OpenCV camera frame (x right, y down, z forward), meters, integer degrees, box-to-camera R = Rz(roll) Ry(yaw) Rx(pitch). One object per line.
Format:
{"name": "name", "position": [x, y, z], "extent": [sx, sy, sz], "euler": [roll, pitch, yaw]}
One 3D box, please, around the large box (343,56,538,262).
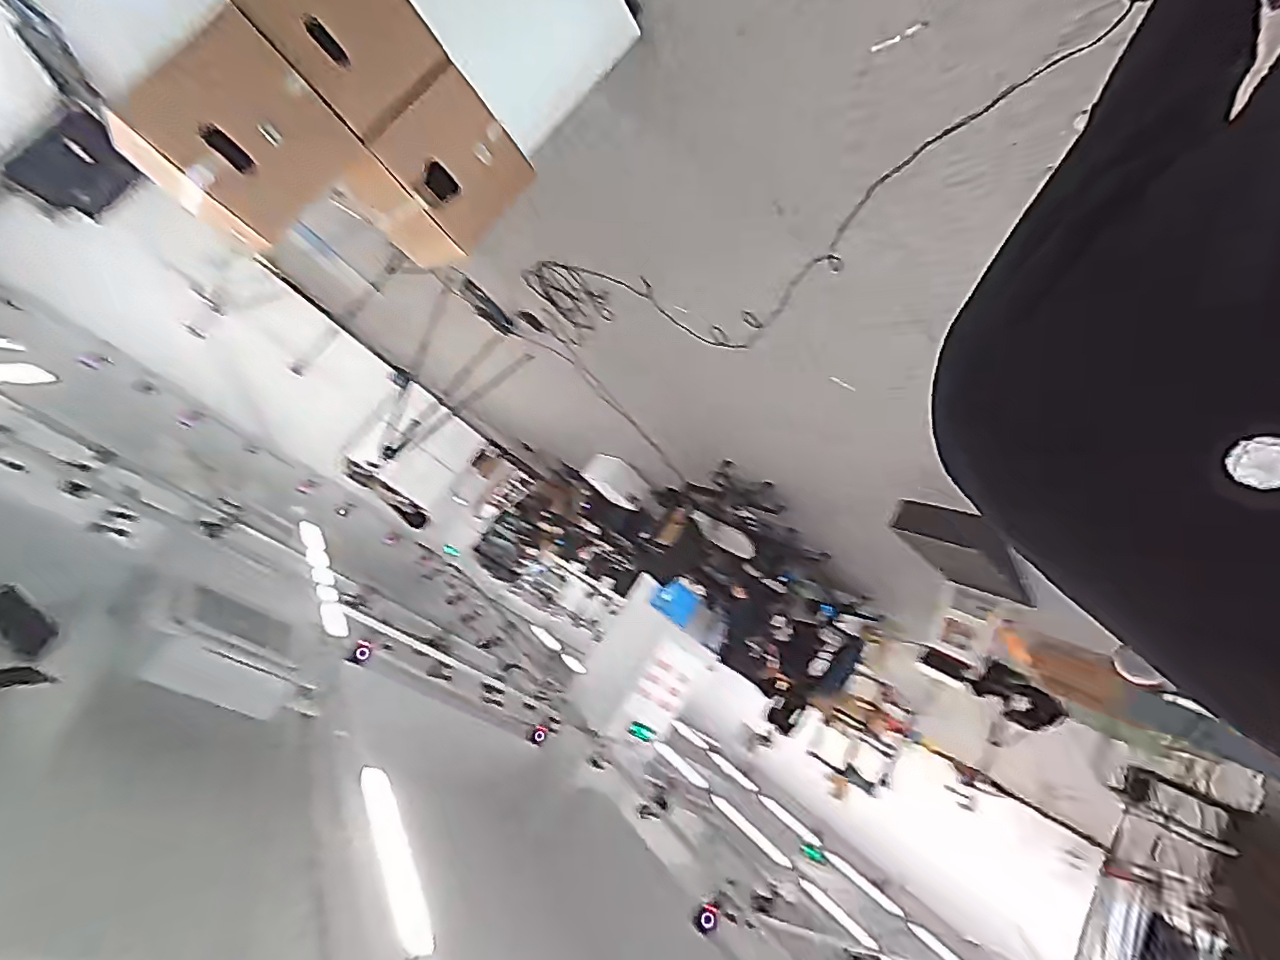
{"name": "large box", "position": [-0.552, -0.848, 1.488], "extent": [0.408, 0.320, 0.320], "euler": [20, 160, 51]}
